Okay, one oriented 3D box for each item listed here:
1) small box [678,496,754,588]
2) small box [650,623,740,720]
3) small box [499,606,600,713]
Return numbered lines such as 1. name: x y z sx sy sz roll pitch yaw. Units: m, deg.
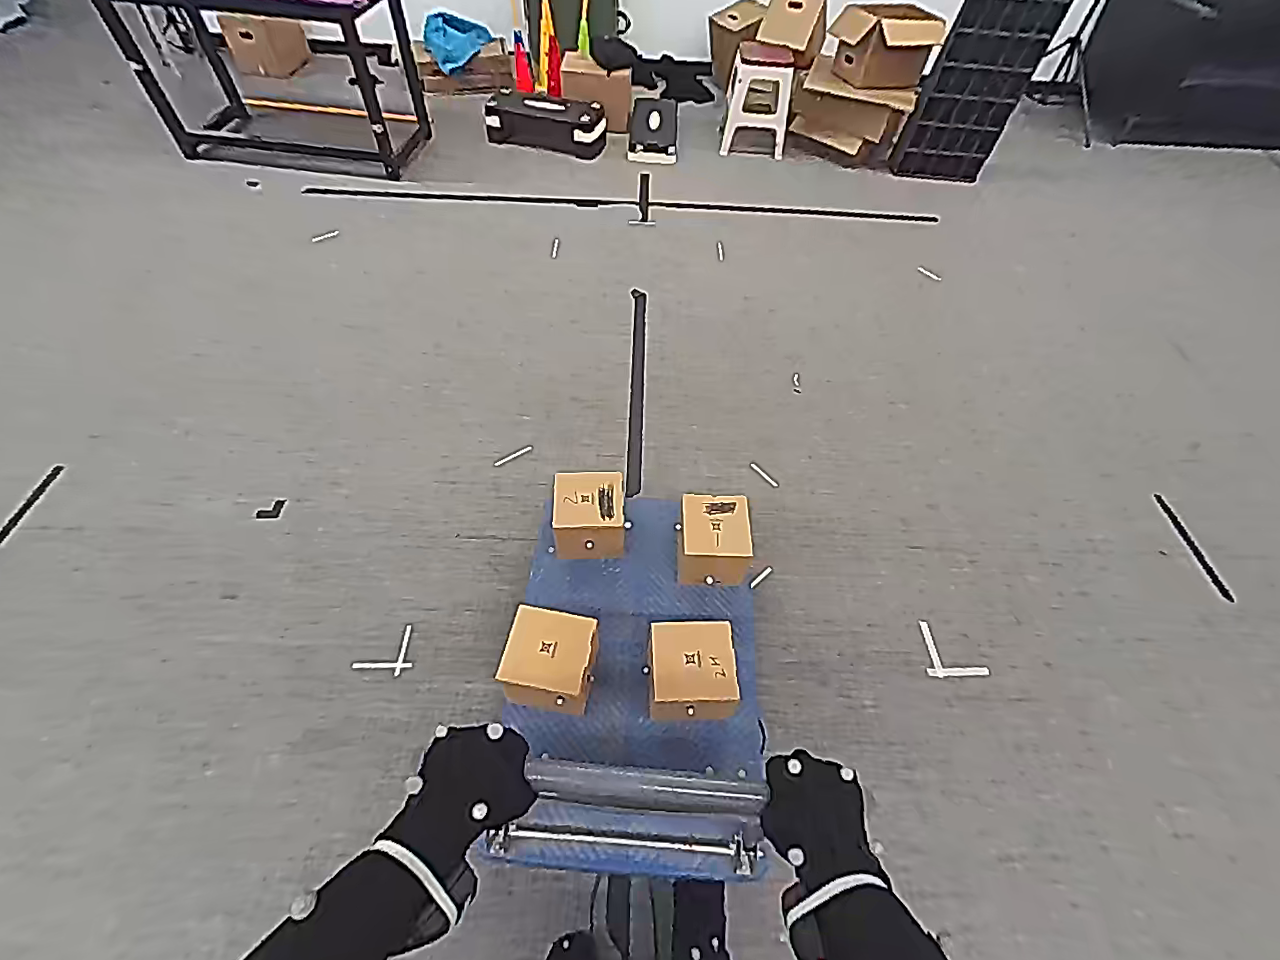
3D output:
1. small box: 0.188 0.161 1.395 0.168 0.176 0.179 2 55 -1
2. small box: 0.112 0.427 1.197 0.179 0.176 0.168 0 54 -3
3. small box: -0.192 0.402 1.199 0.179 0.176 0.168 11 53 3
